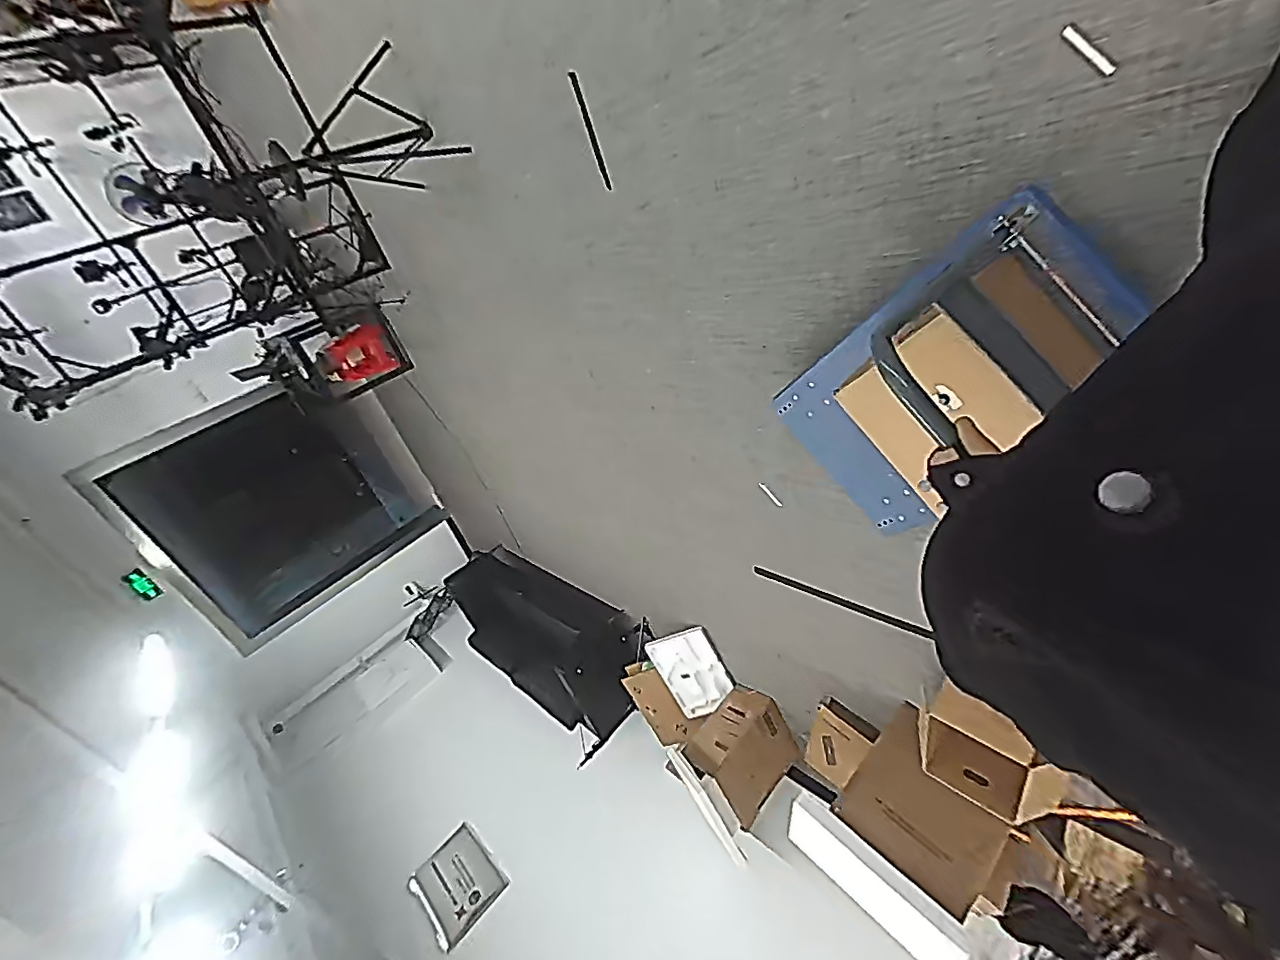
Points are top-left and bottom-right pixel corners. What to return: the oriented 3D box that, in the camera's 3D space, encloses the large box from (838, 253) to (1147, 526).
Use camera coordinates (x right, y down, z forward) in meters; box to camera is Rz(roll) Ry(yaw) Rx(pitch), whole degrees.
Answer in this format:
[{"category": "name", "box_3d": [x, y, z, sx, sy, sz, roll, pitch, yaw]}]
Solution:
[{"category": "large box", "box_3d": [0.722, -0.180, 1.134, 0.408, 0.320, 0.320, 51, 150, 4]}]
